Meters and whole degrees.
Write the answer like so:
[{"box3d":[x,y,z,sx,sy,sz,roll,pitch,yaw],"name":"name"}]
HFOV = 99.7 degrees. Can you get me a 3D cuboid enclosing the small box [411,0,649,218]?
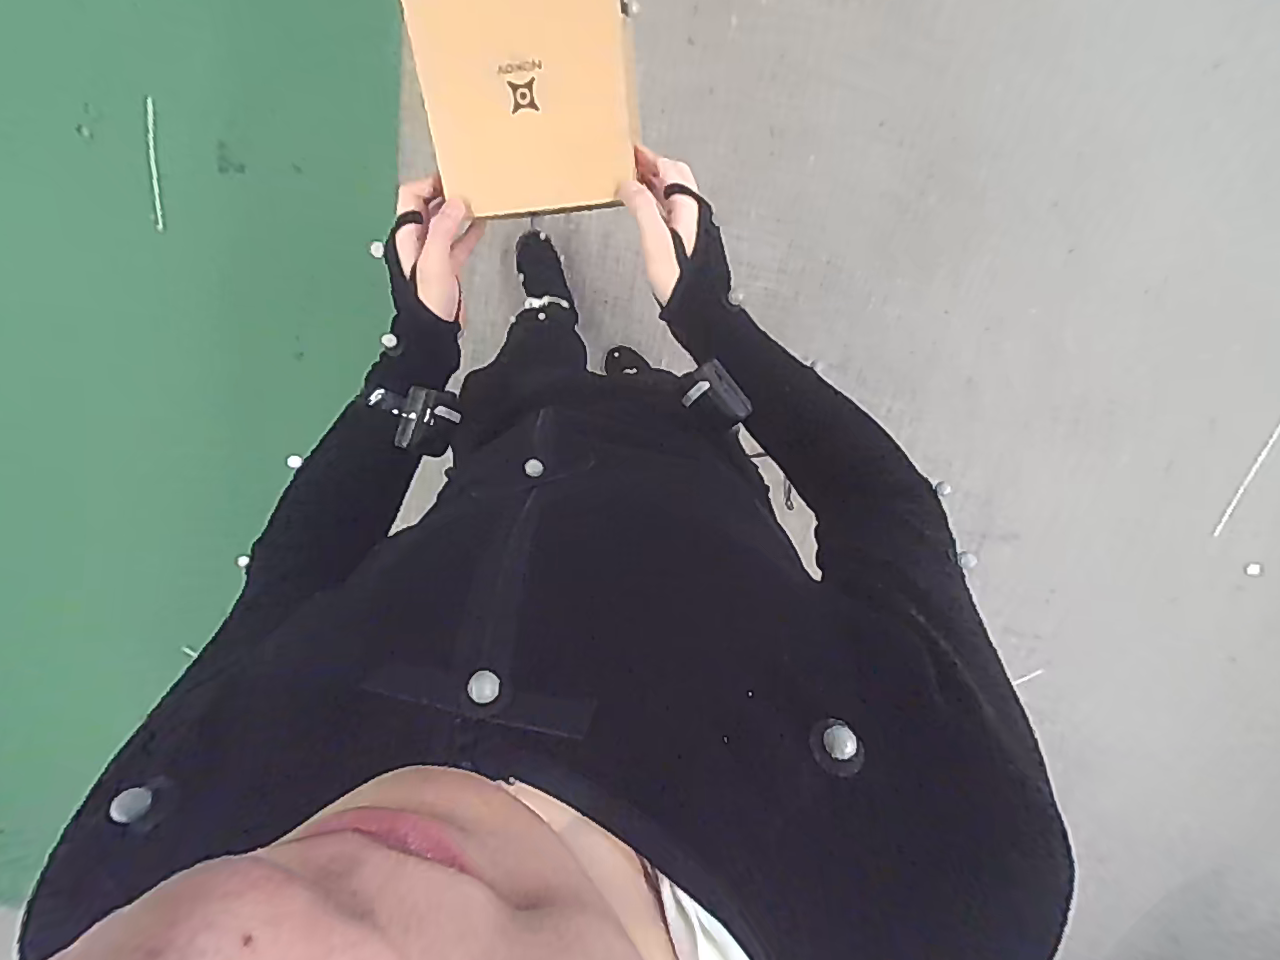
[{"box3d":[-0.082,-0.347,0.502,0.168,0.176,0.179,-3,115,6],"name":"small box"}]
